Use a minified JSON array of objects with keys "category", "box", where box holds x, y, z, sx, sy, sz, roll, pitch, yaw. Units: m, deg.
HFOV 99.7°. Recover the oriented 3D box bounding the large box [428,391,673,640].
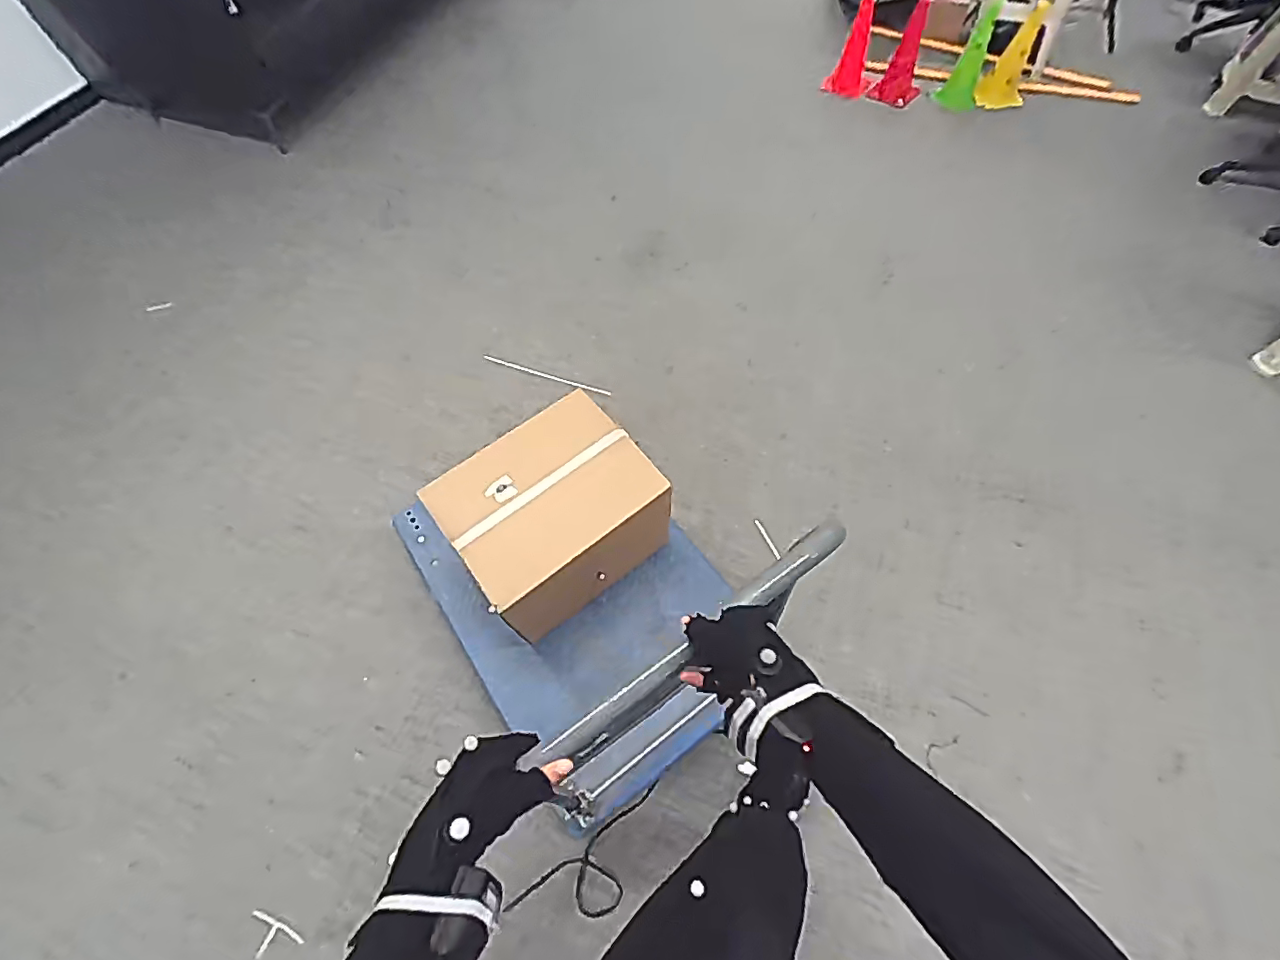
[{"category":"large box","box":[-0.174,0.087,1.205,0.408,0.320,0.320,-36,67,-15]}]
